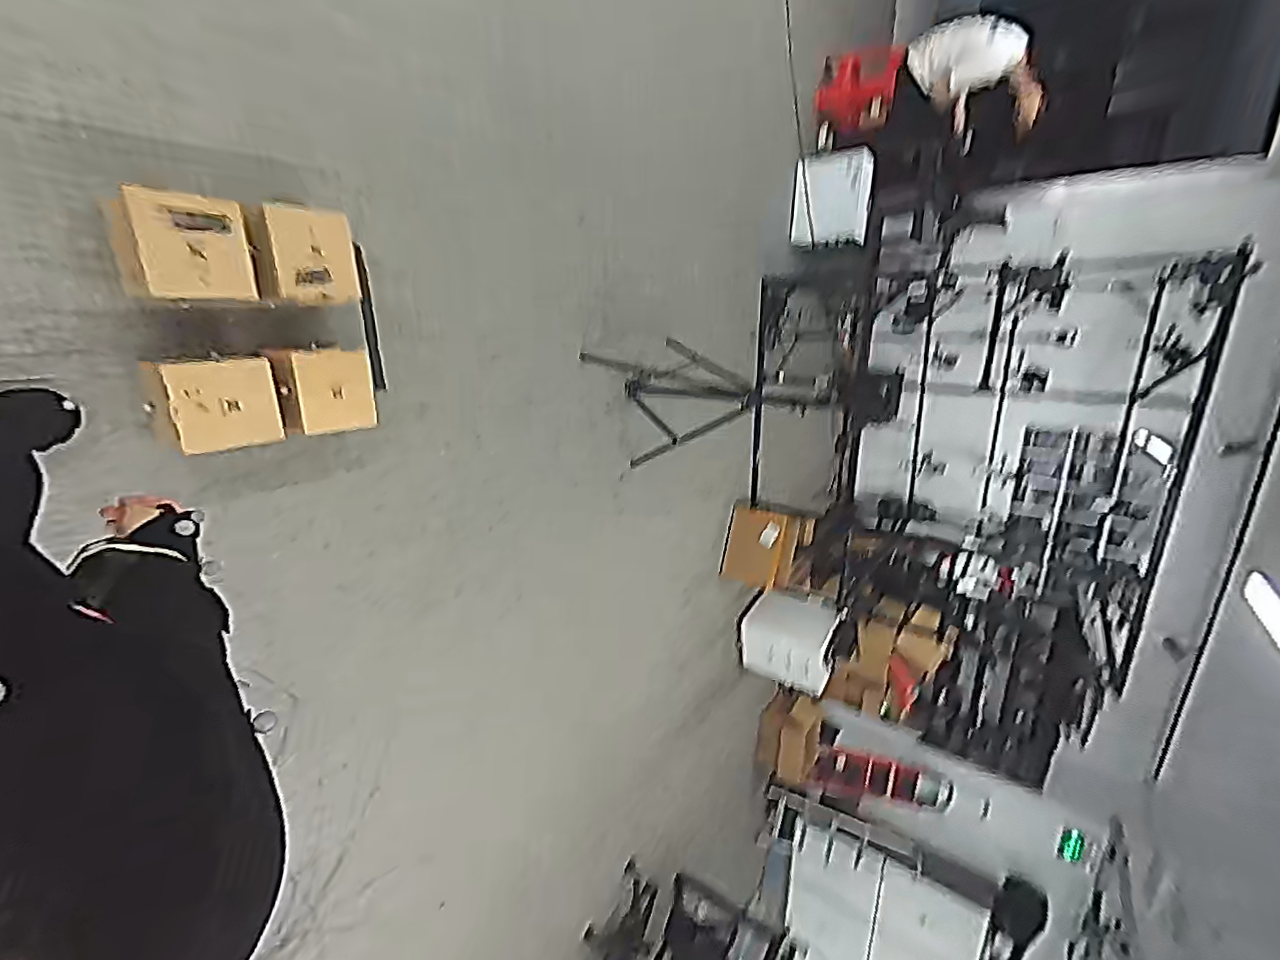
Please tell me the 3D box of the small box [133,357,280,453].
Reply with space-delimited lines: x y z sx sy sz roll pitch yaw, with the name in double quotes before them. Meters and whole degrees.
"small box" -0.872 -0.160 1.094 0.179 0.176 0.168 -21 116 -51
